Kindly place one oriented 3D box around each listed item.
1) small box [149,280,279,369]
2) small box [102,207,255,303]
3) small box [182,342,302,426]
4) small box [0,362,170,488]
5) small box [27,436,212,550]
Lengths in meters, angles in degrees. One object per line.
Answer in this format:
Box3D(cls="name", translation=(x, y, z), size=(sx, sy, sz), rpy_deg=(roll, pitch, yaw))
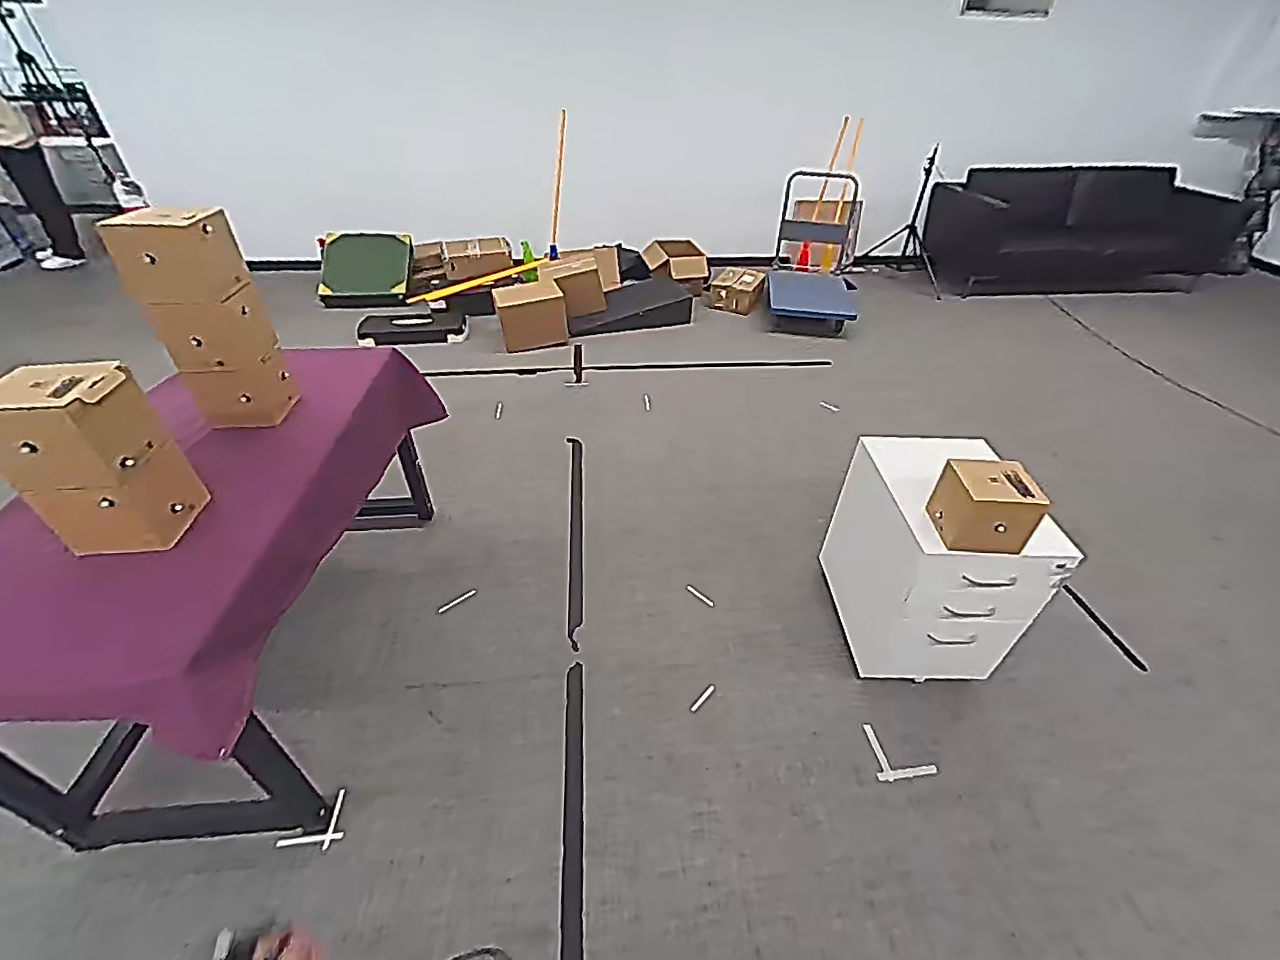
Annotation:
Box3D(cls="small box", translation=(-1.035, -0.383, 1.335), size=(0.168, 0.176, 0.179), rpy_deg=(-2, 38, -6))
Box3D(cls="small box", translation=(-1.037, -0.513, 1.235), size=(0.179, 0.176, 0.168), rpy_deg=(-3, 39, -5))
Box3D(cls="small box", translation=(-1.041, -0.255, 1.438), size=(0.179, 0.176, 0.168), rpy_deg=(-2, 39, -4))
Box3D(cls="small box", translation=(-1.024, -0.100, 0.985), size=(0.179, 0.176, 0.168), rpy_deg=(-4, 39, -6))
Box3D(cls="small box", translation=(-1.027, 0.028, 1.089), size=(0.179, 0.176, 0.168), rpy_deg=(-2, 39, -6))
